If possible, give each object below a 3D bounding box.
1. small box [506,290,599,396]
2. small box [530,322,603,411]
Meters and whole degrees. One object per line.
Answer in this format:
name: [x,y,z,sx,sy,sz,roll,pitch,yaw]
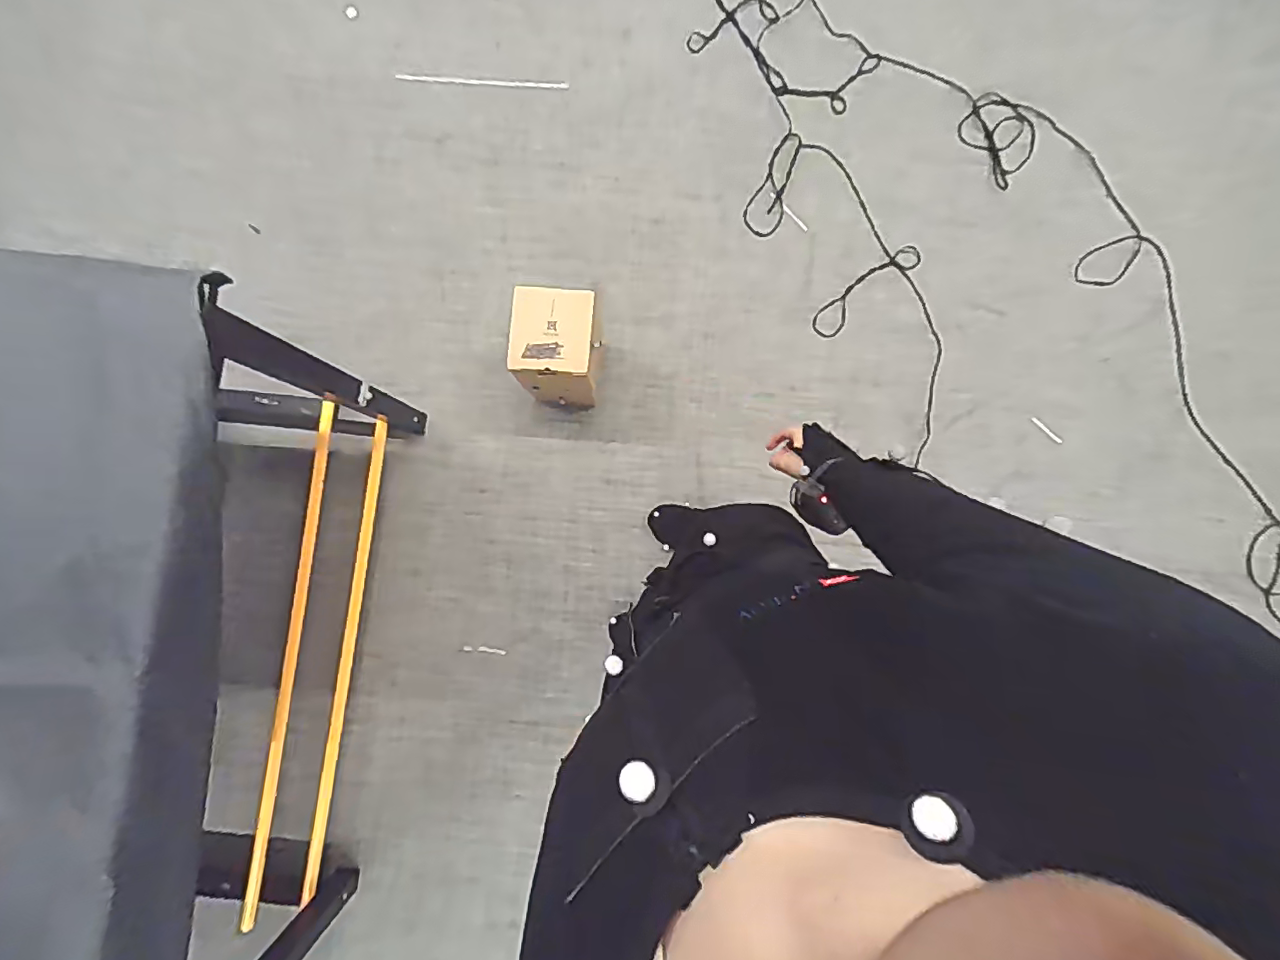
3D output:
small box: [-0.180,-0.286,1.163,0.168,0.176,0.179,4,84,0]
small box: [-0.183,-0.282,1.327,0.168,0.176,0.179,6,84,1]
